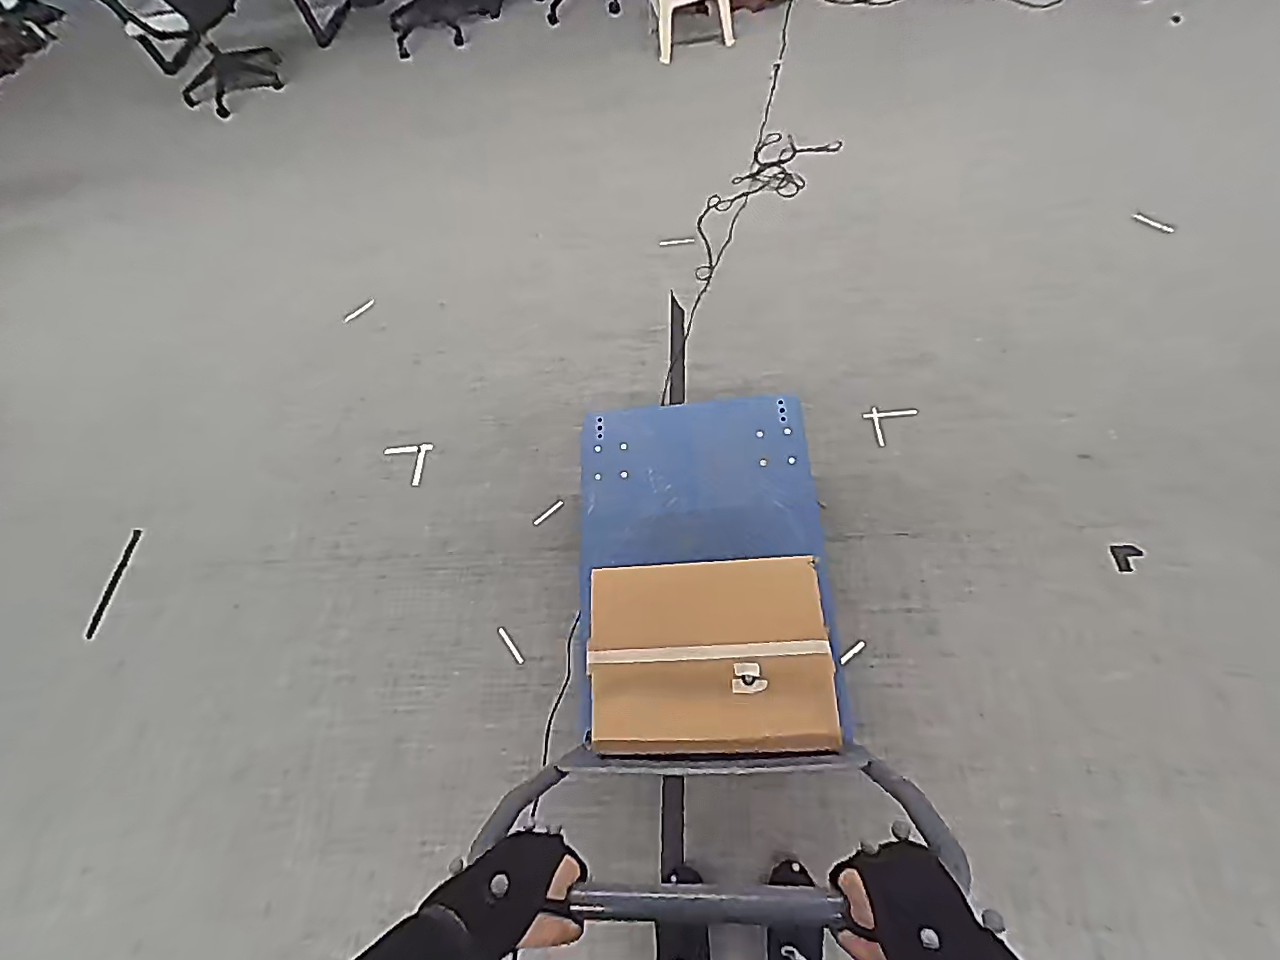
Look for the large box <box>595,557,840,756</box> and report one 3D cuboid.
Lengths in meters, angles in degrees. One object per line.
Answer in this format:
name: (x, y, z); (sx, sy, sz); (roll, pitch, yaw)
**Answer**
large box: (0.138, 0.356, 1.077); (0.408, 0.320, 0.320); (-5, 68, 6)
